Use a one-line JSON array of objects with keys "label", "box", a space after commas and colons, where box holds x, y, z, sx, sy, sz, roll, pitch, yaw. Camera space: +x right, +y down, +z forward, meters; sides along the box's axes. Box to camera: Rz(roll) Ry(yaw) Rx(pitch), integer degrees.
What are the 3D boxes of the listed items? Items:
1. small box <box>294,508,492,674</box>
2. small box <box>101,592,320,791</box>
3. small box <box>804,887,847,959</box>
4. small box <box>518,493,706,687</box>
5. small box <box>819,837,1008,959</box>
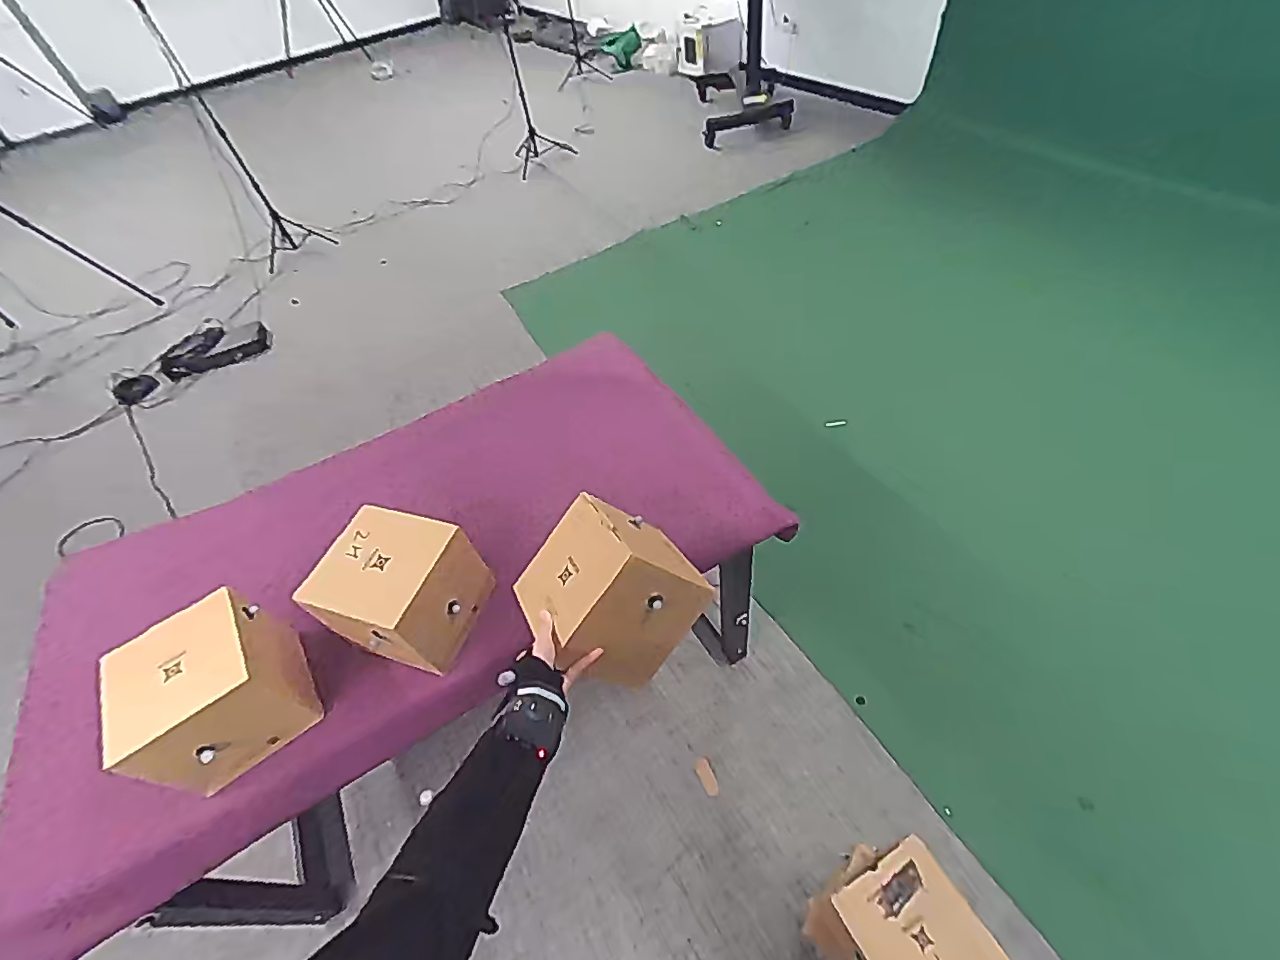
[{"label": "small box", "box": [-0.351, 0.170, 0.810, 0.179, 0.176, 0.168, 10, 52, 18]}, {"label": "small box", "box": [-0.579, 0.296, 0.744, 0.168, 0.176, 0.179, -34, 52, -19]}, {"label": "small box", "box": [0.433, 0.886, 1.047, 0.179, 0.176, 0.168, -20, 51, -7]}, {"label": "small box", "box": [-0.033, 0.153, 0.742, 0.179, 0.176, 0.168, -54, 38, 7]}, {"label": "small box", "box": [0.390, 0.673, 0.800, 0.168, 0.176, 0.179, -26, 53, -13]}]
